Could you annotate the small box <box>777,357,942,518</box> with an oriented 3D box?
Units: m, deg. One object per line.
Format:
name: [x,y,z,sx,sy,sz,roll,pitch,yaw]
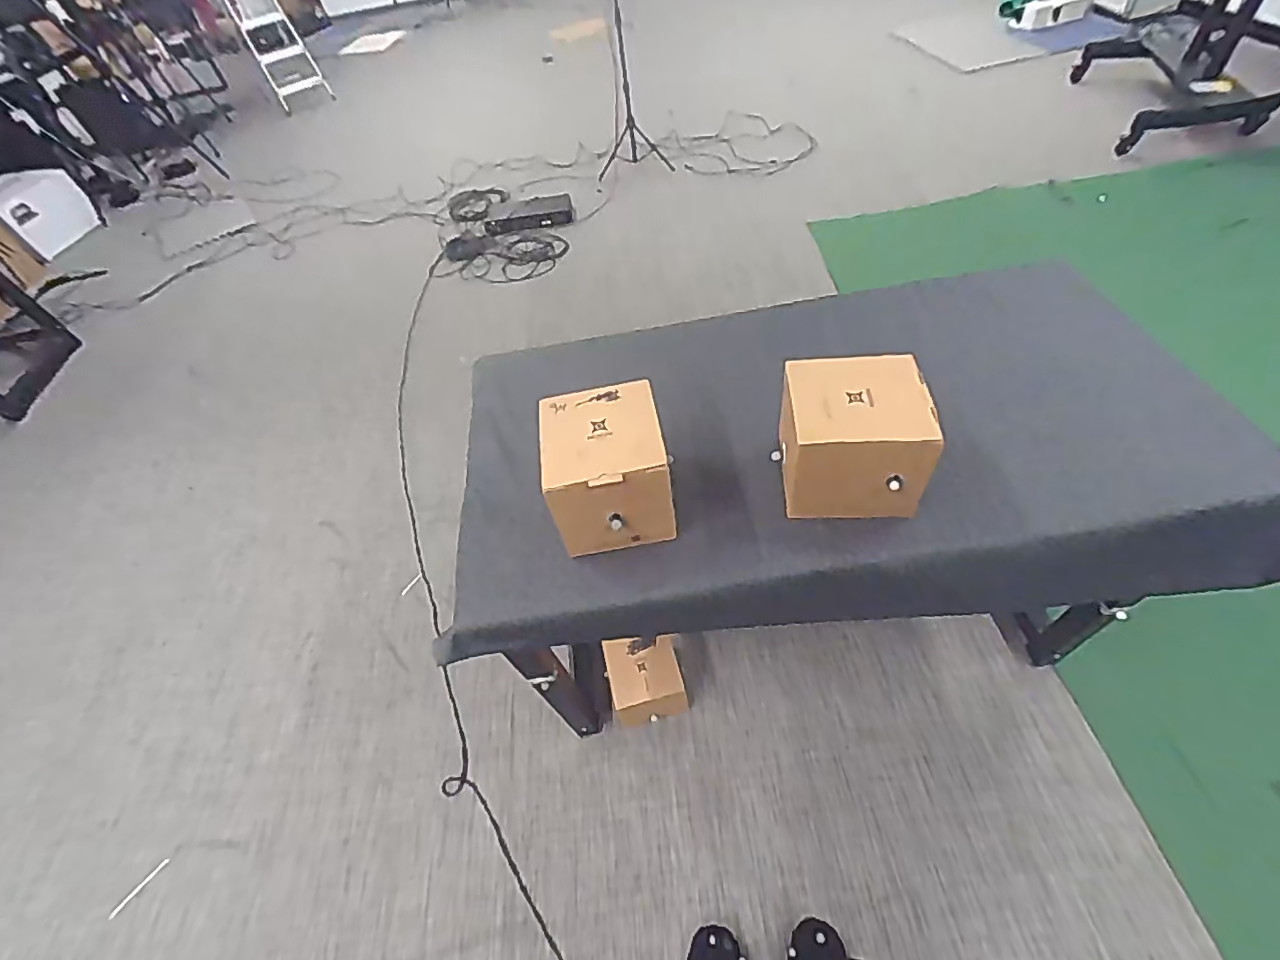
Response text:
small box: [0.301,-0.057,0.785,0.179,0.176,0.168,-2,50,8]

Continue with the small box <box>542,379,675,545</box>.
small box: [-0.044,-0.019,0.801,0.168,0.176,0.179,-10,51,0]
